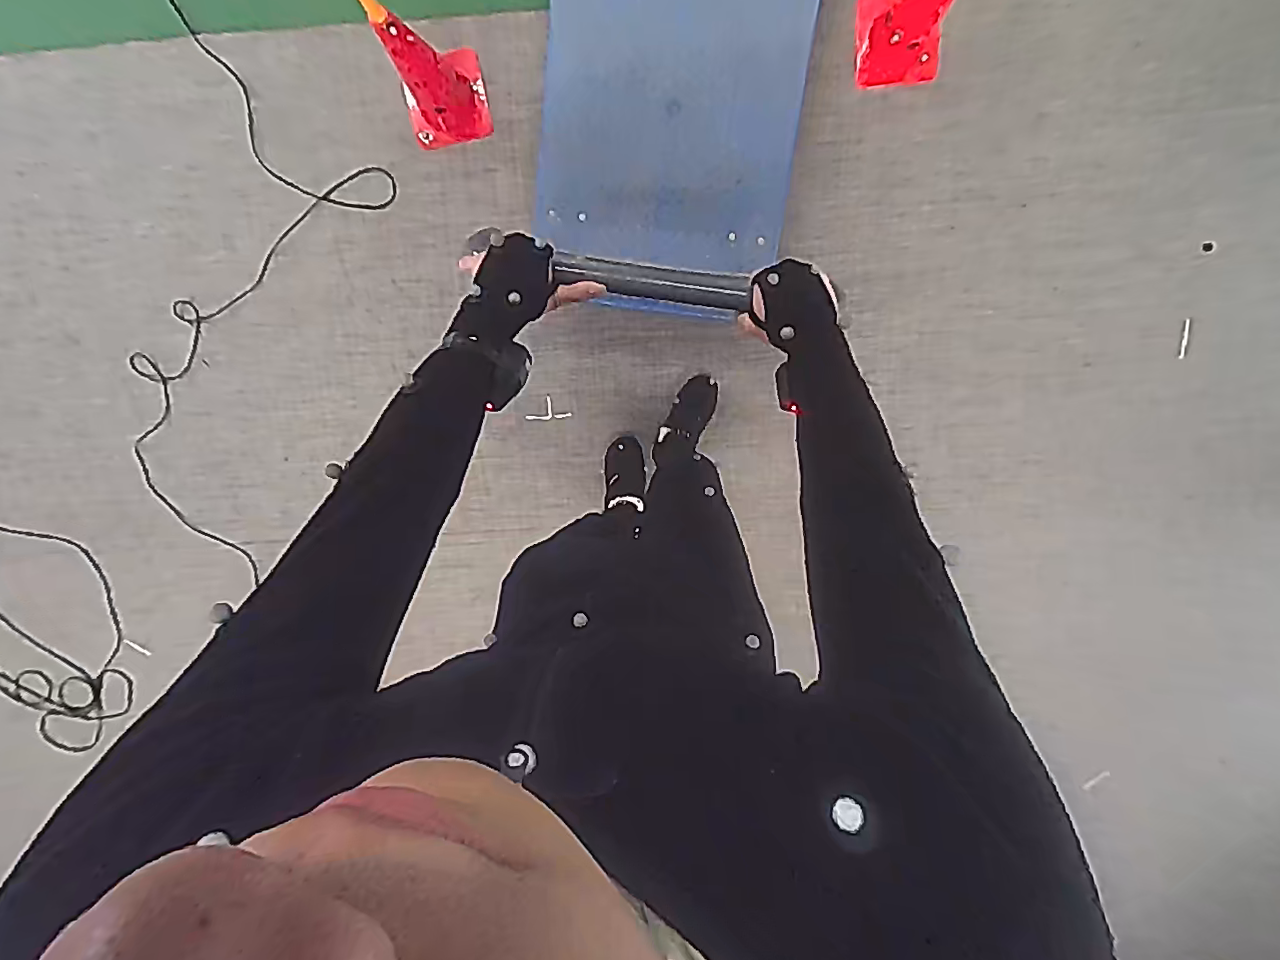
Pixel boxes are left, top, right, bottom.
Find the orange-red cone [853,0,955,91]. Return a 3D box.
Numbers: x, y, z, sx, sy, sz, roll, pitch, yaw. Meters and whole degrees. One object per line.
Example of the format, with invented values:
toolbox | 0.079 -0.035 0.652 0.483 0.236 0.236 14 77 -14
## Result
orange-red cone | 0.612 -1.013 1.132 0.198 0.360 0.199 -3 101 1
